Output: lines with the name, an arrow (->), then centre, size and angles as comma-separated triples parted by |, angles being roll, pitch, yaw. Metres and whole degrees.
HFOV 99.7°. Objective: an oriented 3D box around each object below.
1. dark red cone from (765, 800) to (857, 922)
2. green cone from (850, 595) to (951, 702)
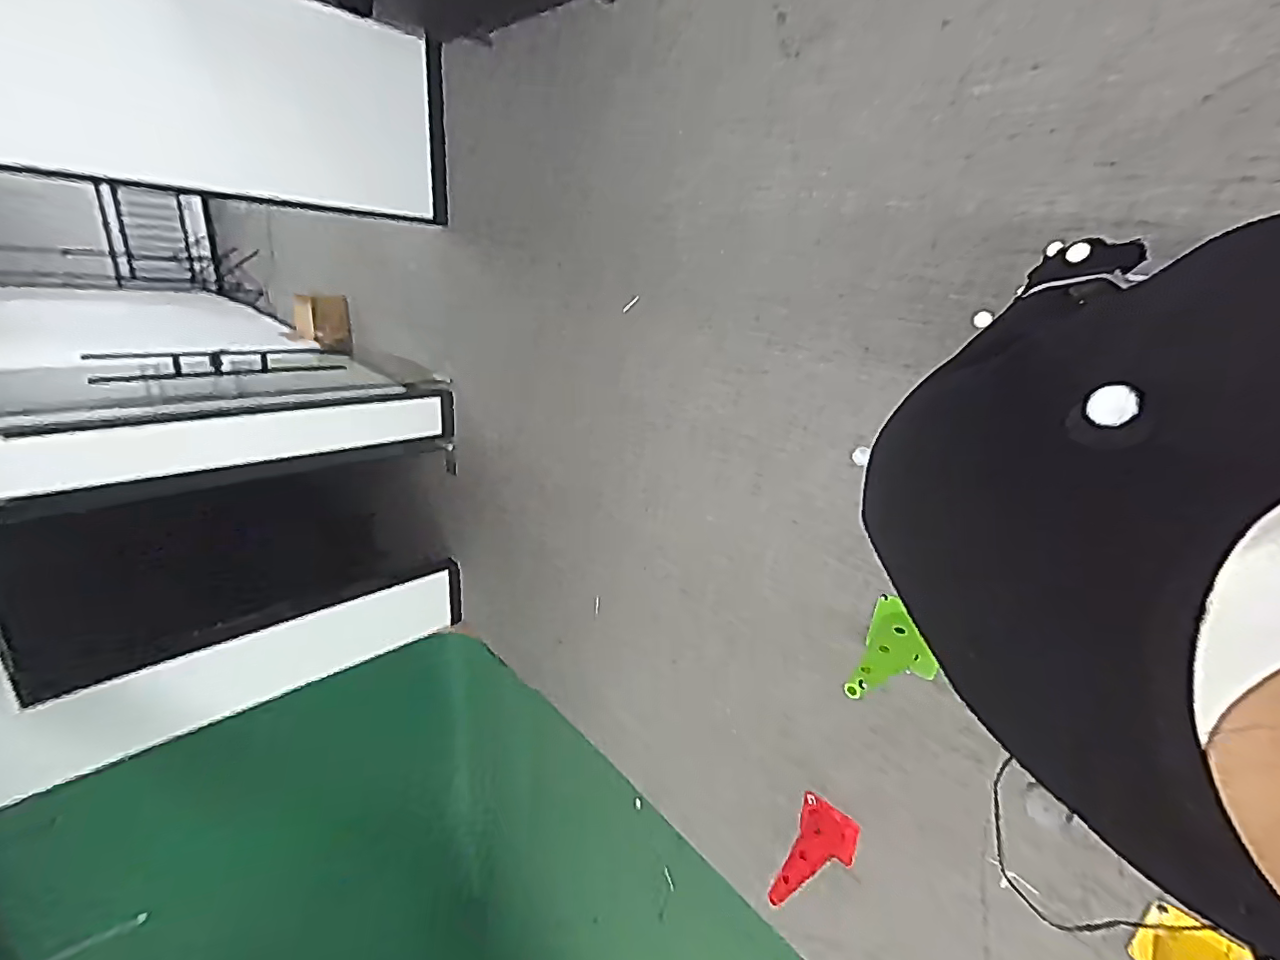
dark red cone -> 0.527, 1.264, 1.754 | 0.202, 0.394, 0.201 | 19, 116, 42
green cone -> 0.648, 0.487, 1.438 | 0.202, 0.368, 0.200 | 23, 117, 39
